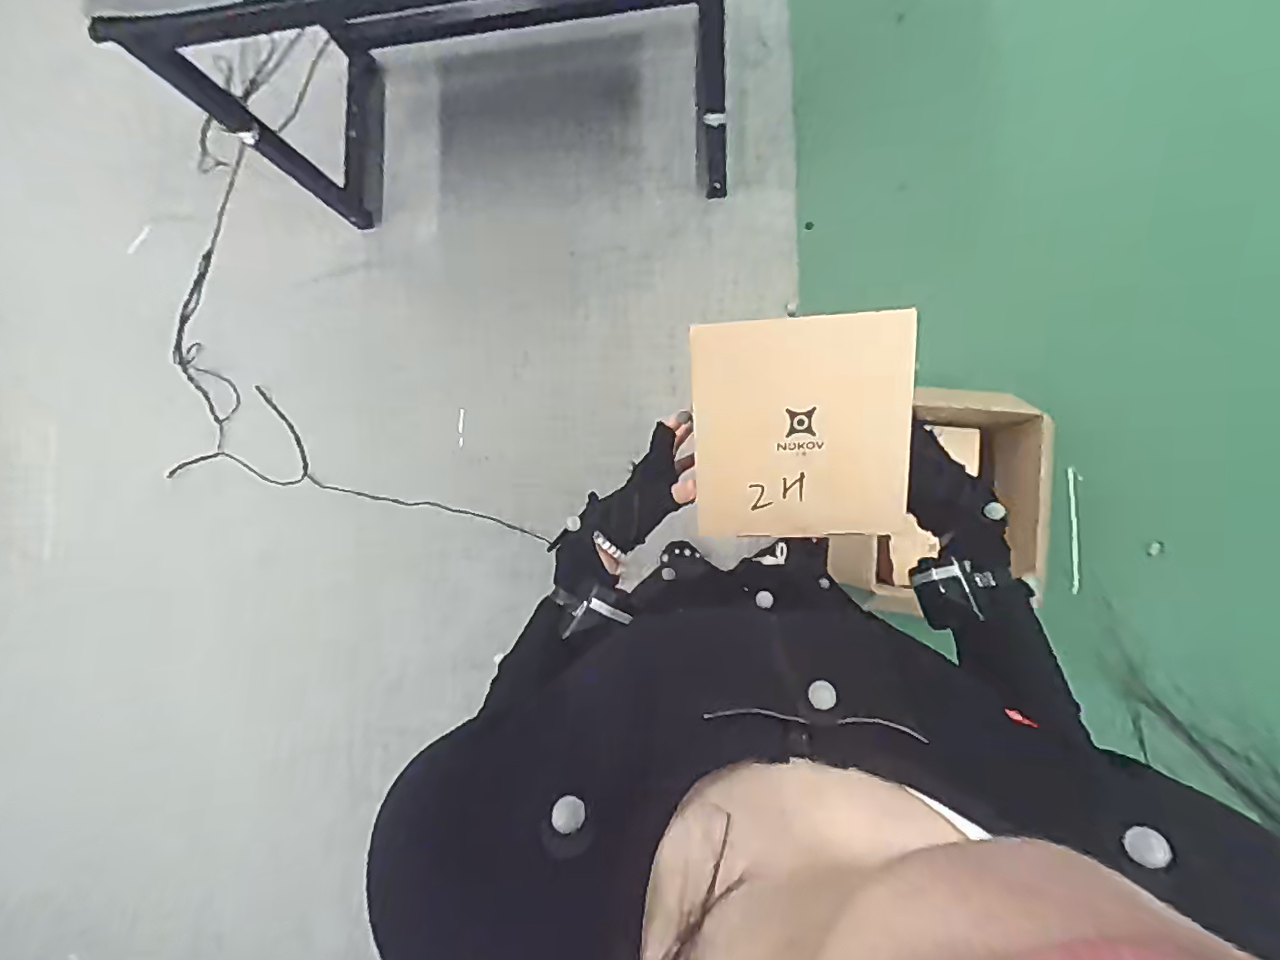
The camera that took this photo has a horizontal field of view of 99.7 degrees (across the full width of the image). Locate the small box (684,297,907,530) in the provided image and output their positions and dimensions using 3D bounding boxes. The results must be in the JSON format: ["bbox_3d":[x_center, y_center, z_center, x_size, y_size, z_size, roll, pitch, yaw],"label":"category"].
[{"bbox_3d":[0.127,-0.064,0.494,0.168,0.176,0.179,-2,104,9],"label":"small box"}]
